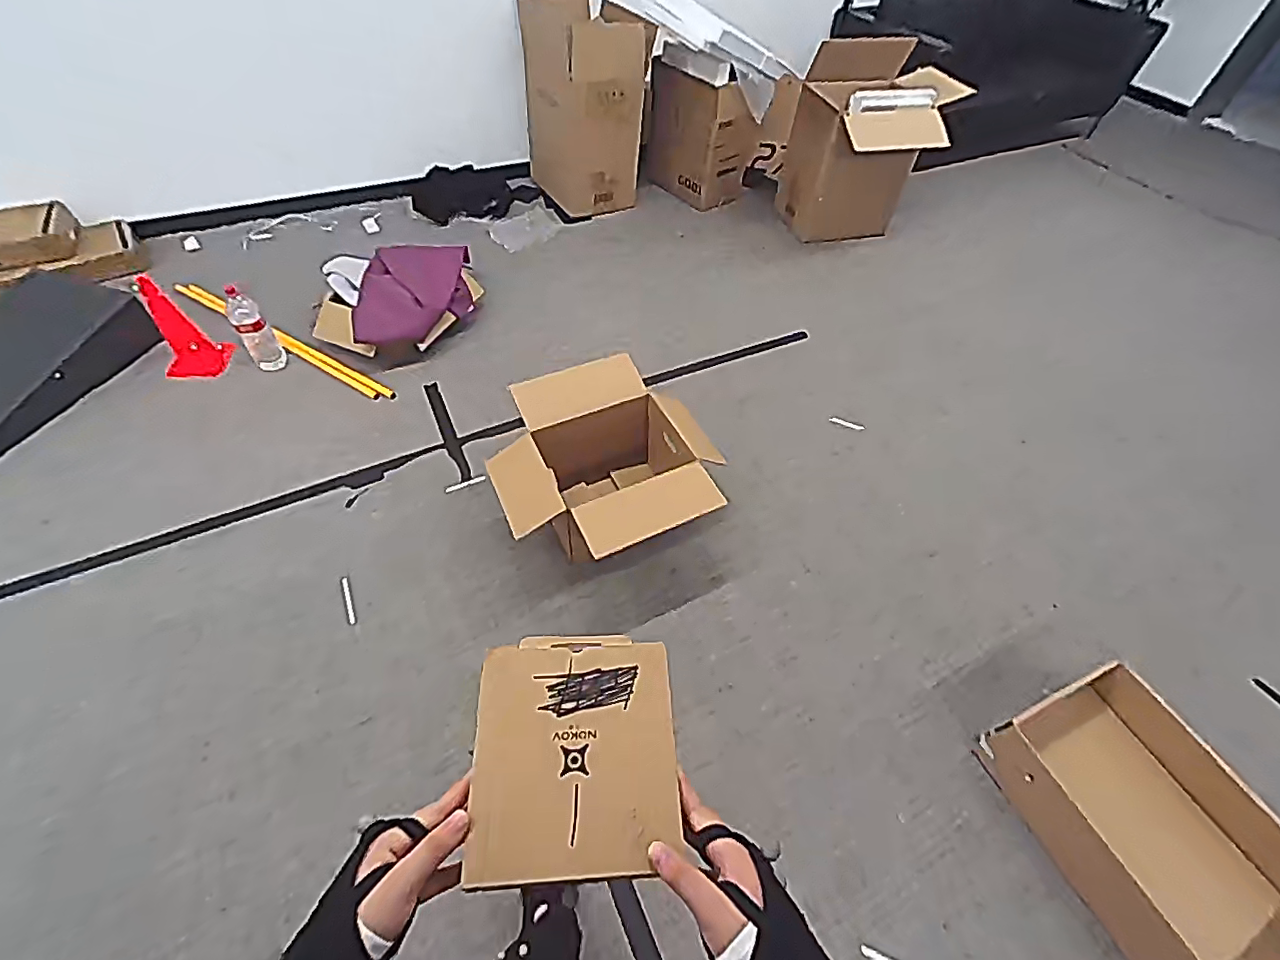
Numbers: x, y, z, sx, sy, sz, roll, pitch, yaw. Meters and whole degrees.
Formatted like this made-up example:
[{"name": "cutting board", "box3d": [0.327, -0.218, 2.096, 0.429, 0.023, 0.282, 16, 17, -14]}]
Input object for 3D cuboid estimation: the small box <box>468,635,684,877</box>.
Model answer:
[{"name": "small box", "box3d": [-0.058, 0.265, 0.517, 0.168, 0.176, 0.179, 0, 53, -6]}]
